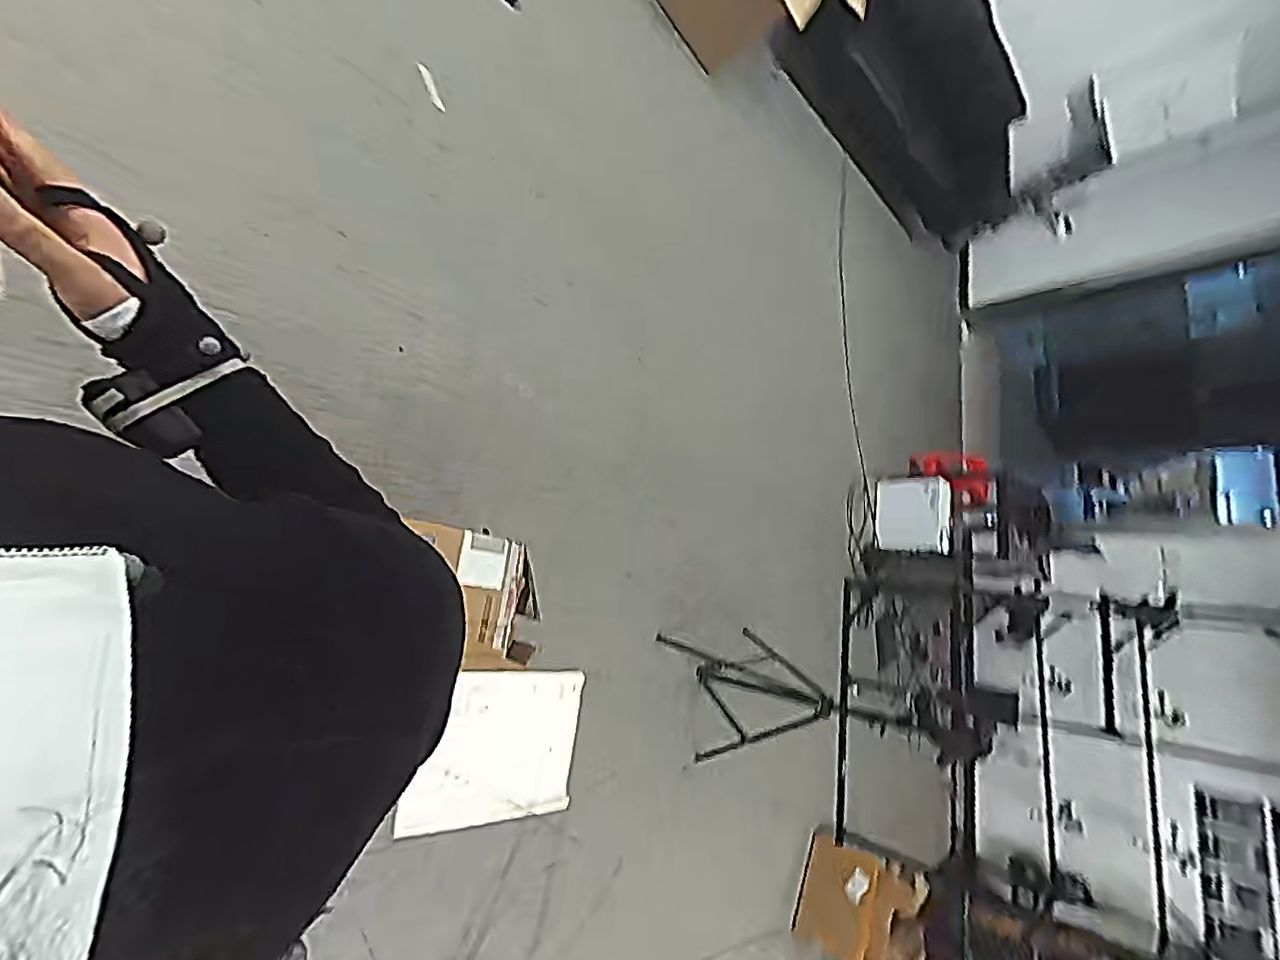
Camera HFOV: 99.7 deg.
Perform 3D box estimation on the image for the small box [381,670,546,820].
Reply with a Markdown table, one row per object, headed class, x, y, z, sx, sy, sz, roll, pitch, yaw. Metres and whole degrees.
| class | x | y | z | sx | sy | sz | roll | pitch | yaw |
| --- | --- | --- | --- | --- | --- | --- | --- | --- | --- |
| small box | -0.280 | 0.405 | 0.860 | 0.179 | 0.176 | 0.168 | 19 | 76 | -41 |
